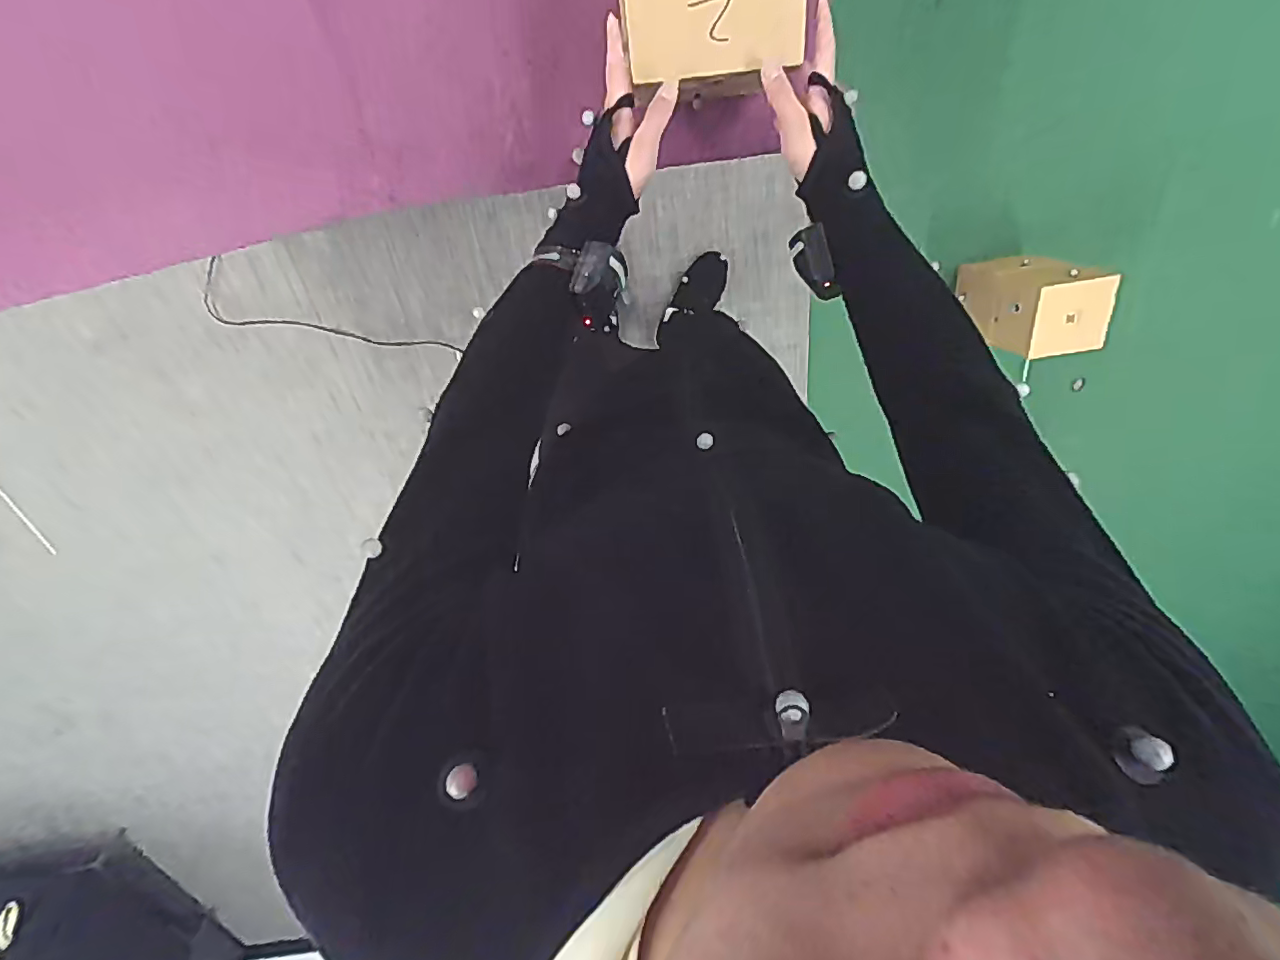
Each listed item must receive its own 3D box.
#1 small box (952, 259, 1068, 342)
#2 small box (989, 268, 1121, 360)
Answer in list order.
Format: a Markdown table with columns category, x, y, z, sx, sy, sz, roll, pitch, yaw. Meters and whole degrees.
| category | x | y | z | sx | sy | sz | roll | pitch | yaw |
| --- | --- | --- | --- | --- | --- | --- | --- | --- | --- |
| small box | 0.966 | -0.479 | 1.428 | 0.179 | 0.176 | 0.168 | -8 | 119 | 3 |
| small box | 0.973 | -0.398 | 1.288 | 0.179 | 0.176 | 0.168 | -9 | 118 | 2 |
